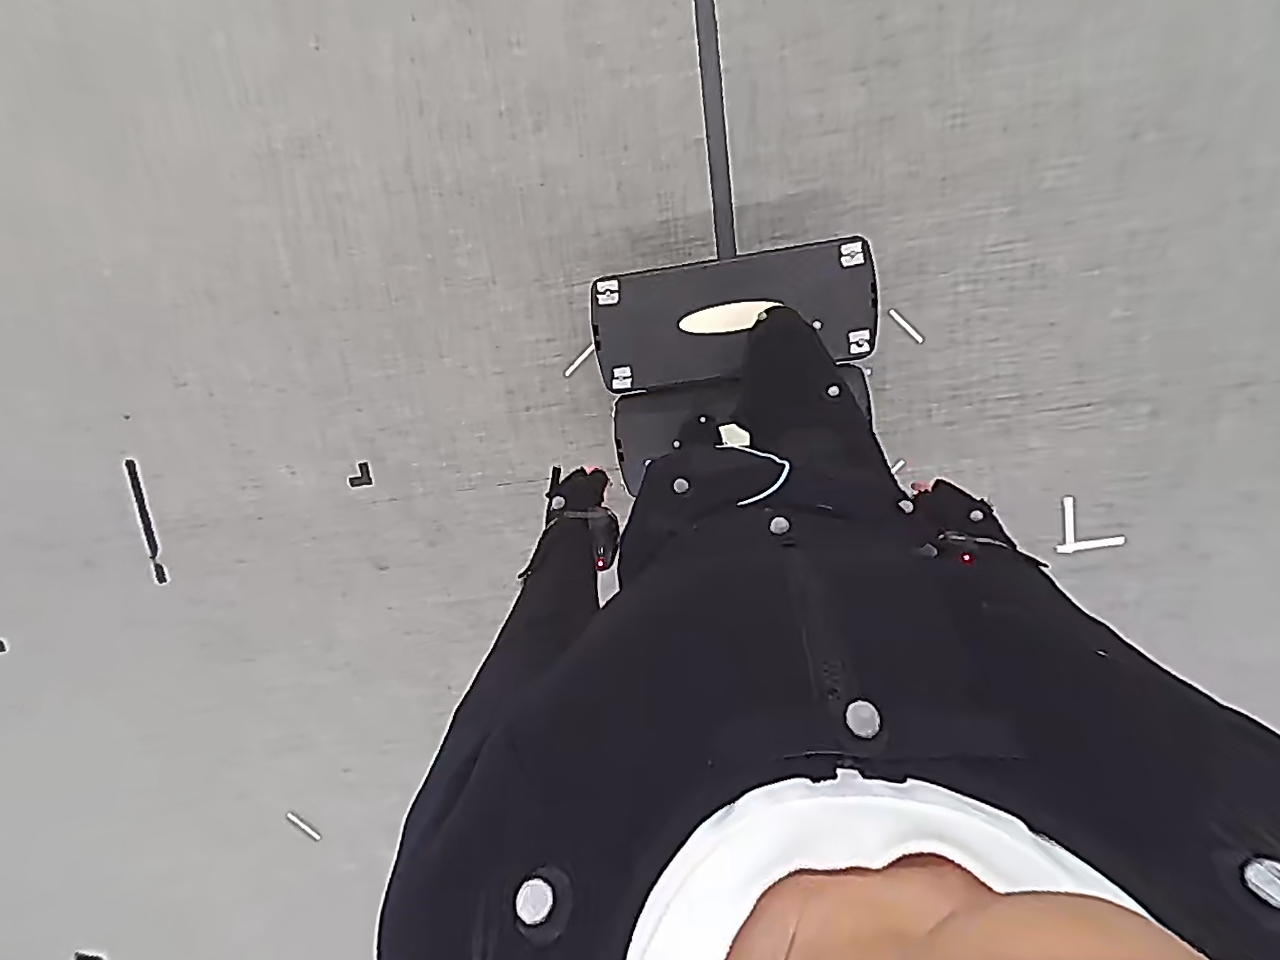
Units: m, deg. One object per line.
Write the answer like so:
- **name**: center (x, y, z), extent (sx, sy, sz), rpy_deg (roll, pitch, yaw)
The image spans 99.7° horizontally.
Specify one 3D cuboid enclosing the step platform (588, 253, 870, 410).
- **step platform**: center (0.213, -0.365, 1.368), extent (0.684, 0.204, 0.286), rpy_deg (-8, 100, 5)
